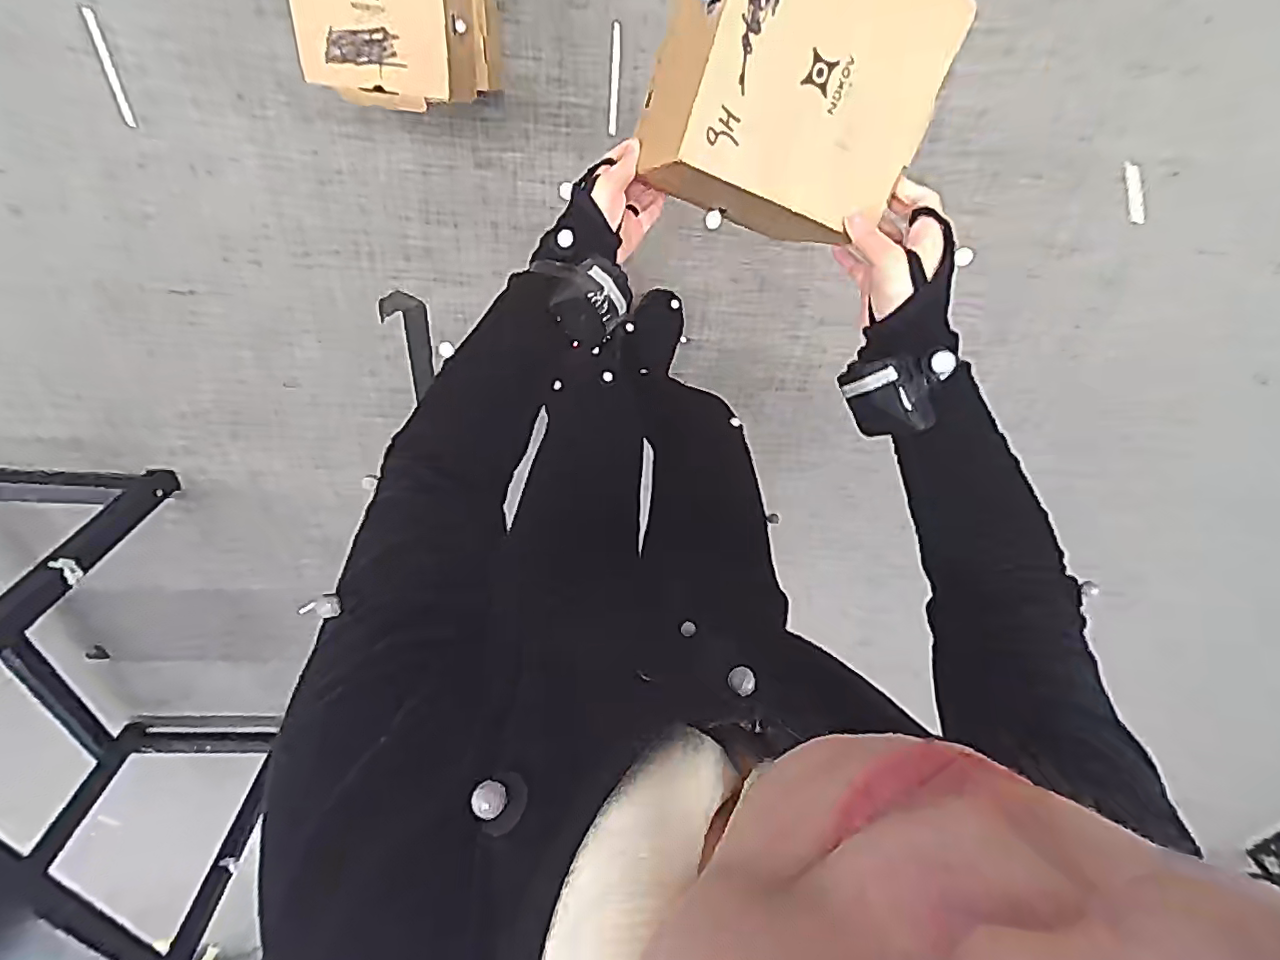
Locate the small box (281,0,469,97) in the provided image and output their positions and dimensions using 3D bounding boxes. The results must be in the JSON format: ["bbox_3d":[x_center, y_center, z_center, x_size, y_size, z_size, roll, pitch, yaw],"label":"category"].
[{"bbox_3d":[-0.302,-0.569,0.635,0.168,0.176,0.179,3,125,-7],"label":"small box"}]

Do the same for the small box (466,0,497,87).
[{"bbox_3d":[-0.302,-0.668,0.765,0.179,0.176,0.168,1,126,-5],"label":"small box"}]

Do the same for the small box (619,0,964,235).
[{"bbox_3d":[0.102,-0.318,0.440,0.179,0.176,0.168,12,110,-22],"label":"small box"}]
